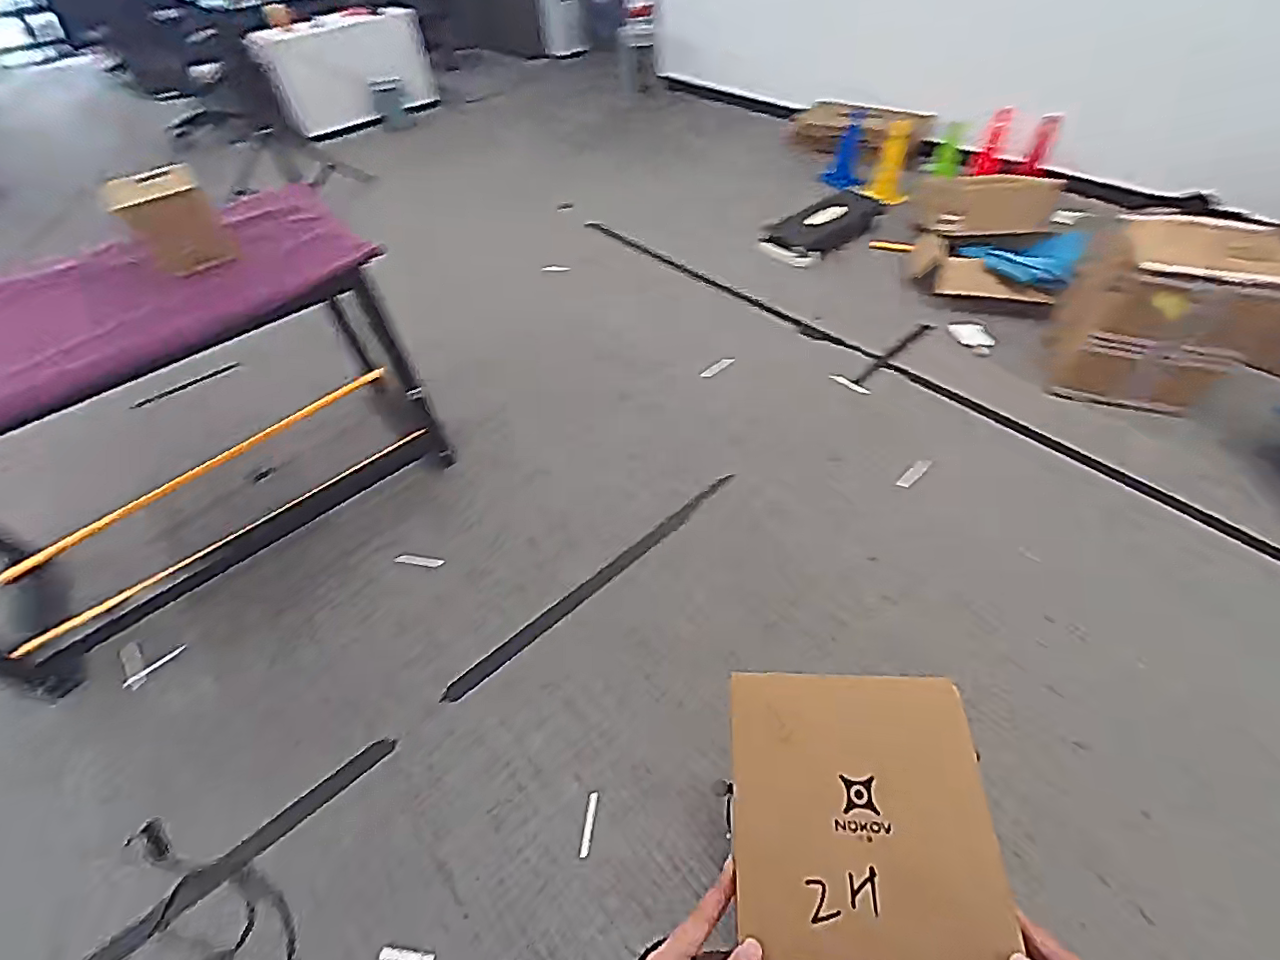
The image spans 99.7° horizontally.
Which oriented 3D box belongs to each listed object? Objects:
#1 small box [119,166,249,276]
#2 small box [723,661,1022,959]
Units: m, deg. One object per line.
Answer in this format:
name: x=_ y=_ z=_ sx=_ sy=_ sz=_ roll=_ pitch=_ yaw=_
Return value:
small box: x=-1.079 y=-0.615 z=1.288 sx=0.168 sy=0.176 sz=0.179 roll=-32 pitch=56 yaw=-21
small box: x=0.151 y=0.256 z=0.428 sx=0.168 sy=0.176 sz=0.179 roll=-2 pitch=56 yaw=8
